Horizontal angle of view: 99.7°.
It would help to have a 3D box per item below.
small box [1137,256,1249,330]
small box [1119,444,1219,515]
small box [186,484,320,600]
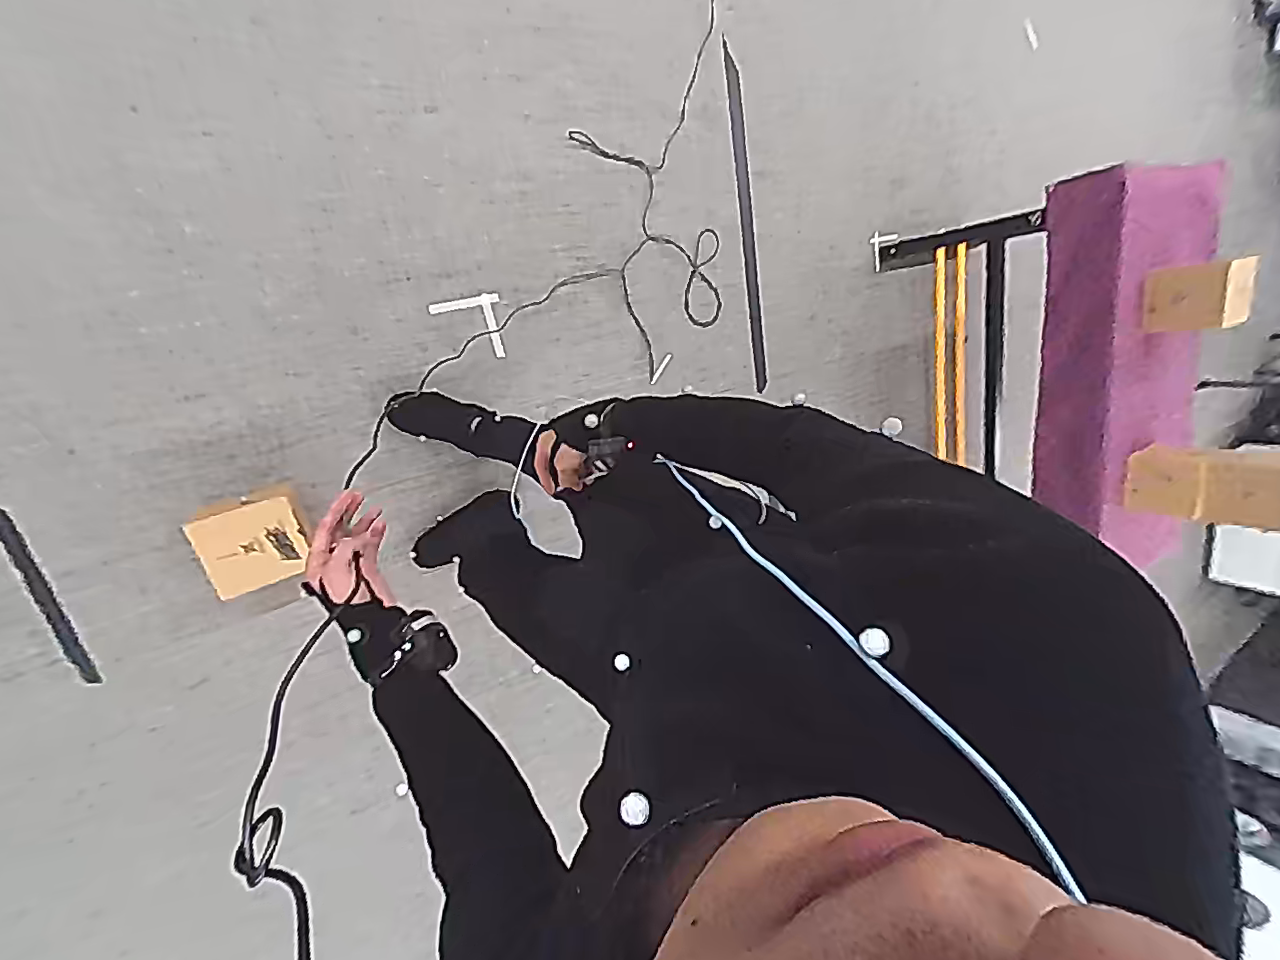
[{"bbox_3d":[1.501,-0.507,1.474,0.179,0.176,0.168,-15,107,-27],"label":"small box"},{"bbox_3d":[1.567,-0.008,1.607,0.179,0.176,0.168,-16,106,-27],"label":"small box"},{"bbox_3d":[-0.797,0.119,1.135,0.179,0.176,0.168,-22,109,-24],"label":"small box"}]
